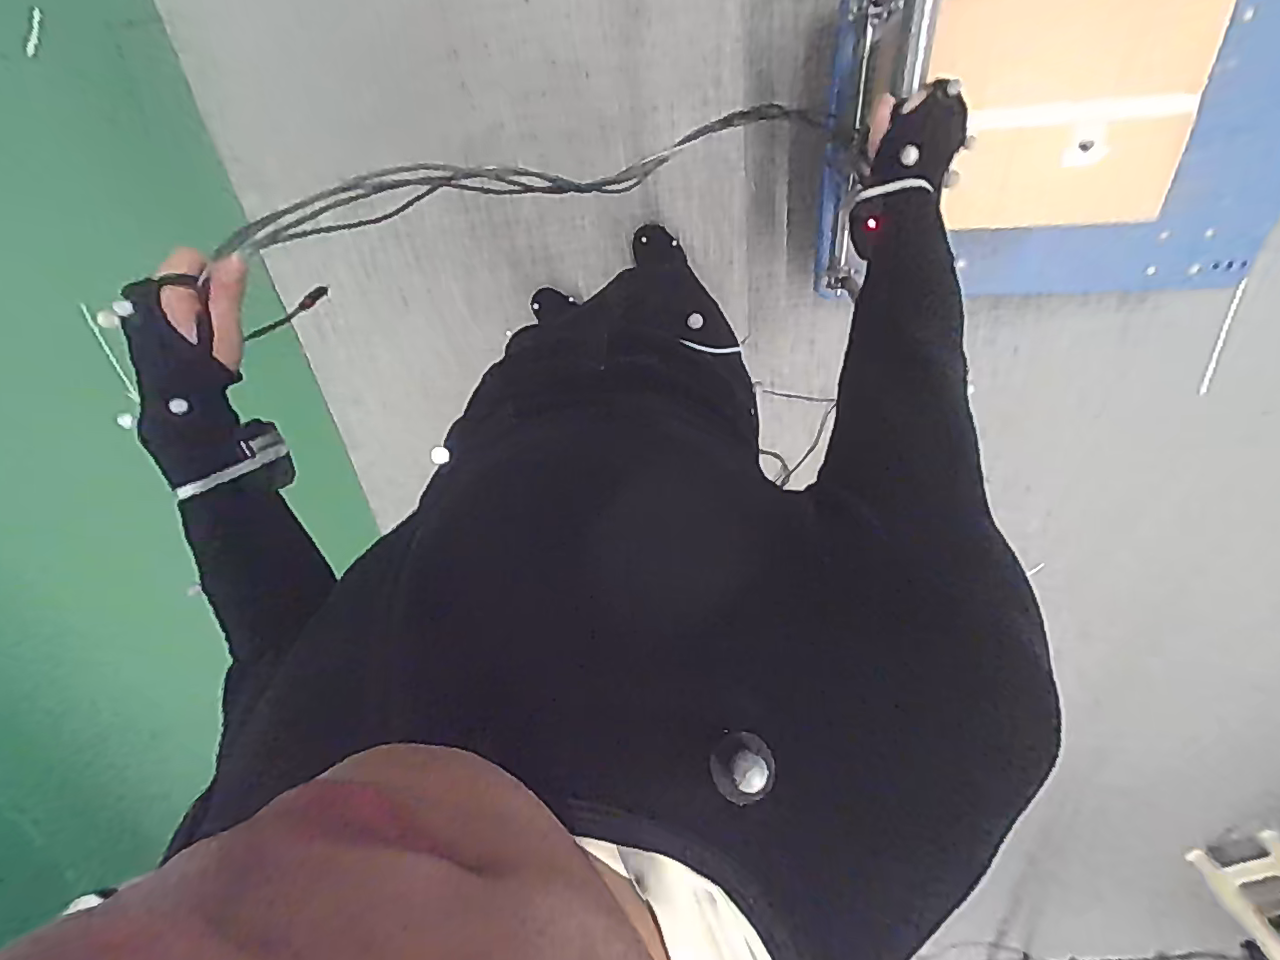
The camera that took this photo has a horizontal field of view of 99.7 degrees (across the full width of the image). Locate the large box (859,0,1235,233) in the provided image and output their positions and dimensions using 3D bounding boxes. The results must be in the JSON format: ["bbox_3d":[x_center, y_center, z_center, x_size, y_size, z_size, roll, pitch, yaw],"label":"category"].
[{"bbox_3d":[0.640,-0.625,0.950,0.408,0.320,0.320,2,120,8],"label":"large box"}]
